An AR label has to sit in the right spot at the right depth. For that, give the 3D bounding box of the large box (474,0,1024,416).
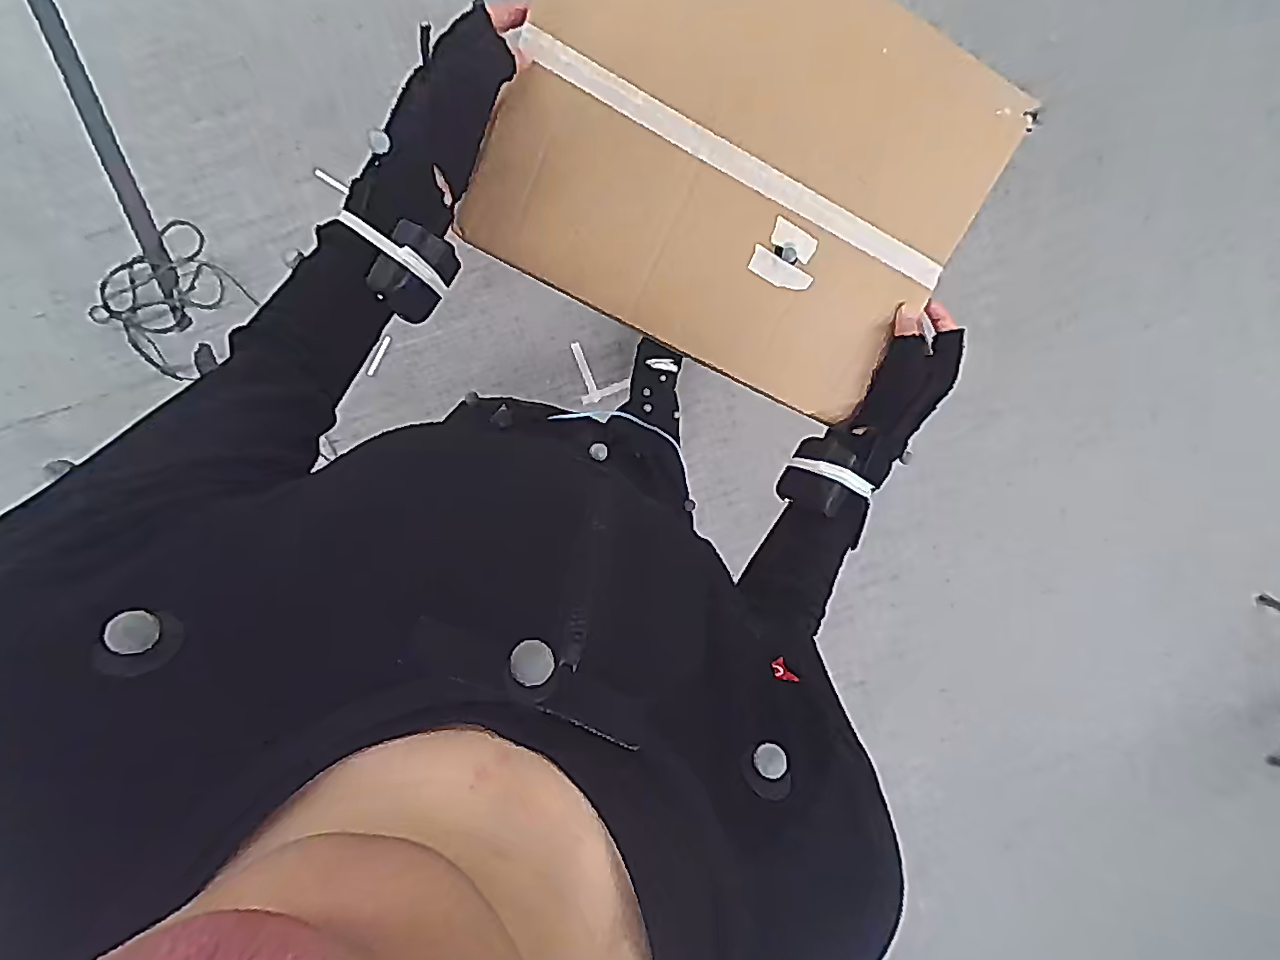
[{"bbox_3d":[0.083,-0.315,0.612,0.408,0.320,0.320,24,105,-11],"label":"large box"}]
